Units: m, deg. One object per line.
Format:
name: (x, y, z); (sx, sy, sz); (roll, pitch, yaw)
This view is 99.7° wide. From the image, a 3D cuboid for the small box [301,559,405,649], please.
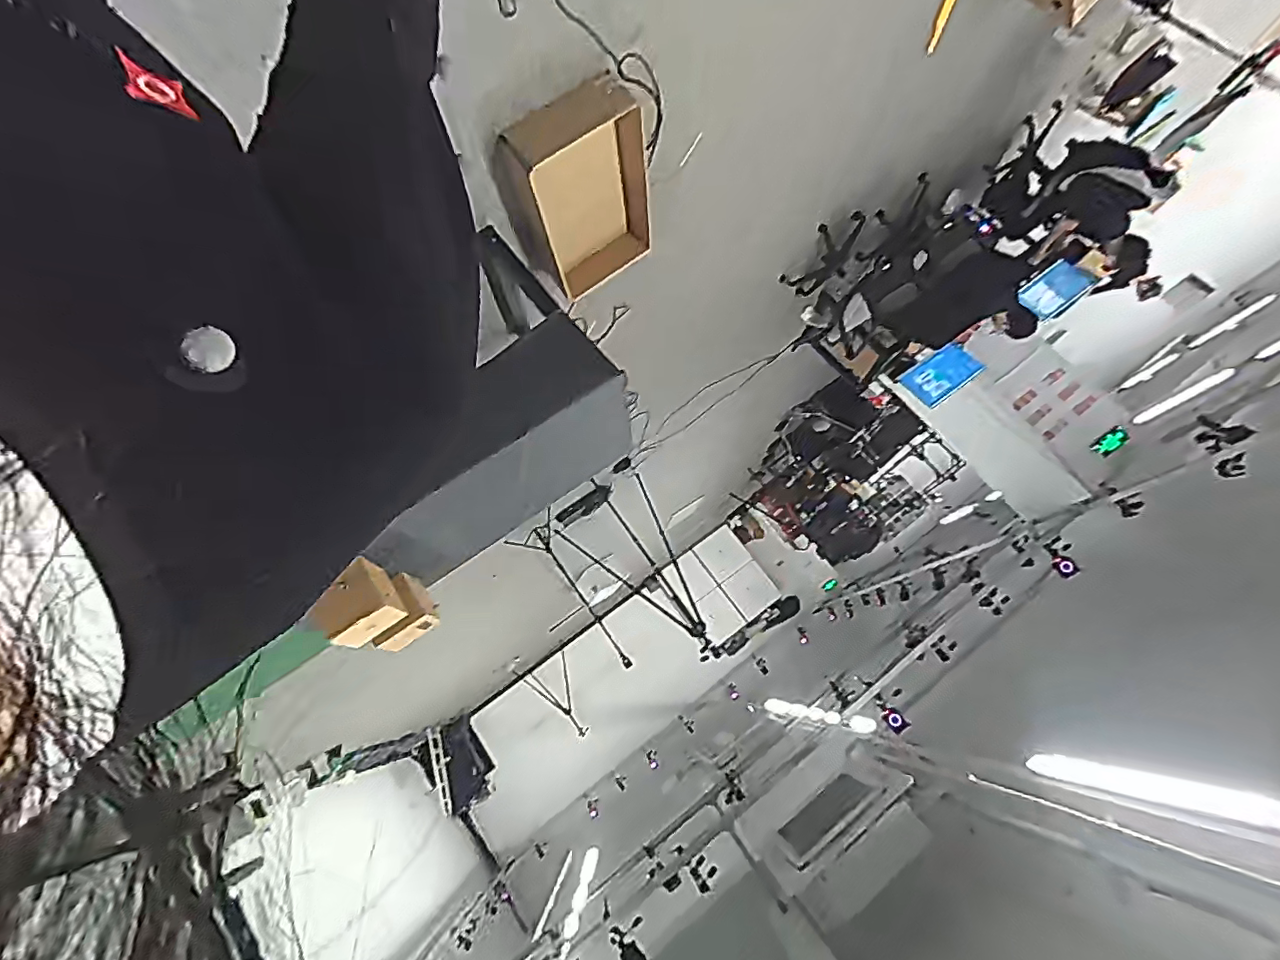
small box: (-0.788, 0.341, 1.492); (0.168, 0.176, 0.179); (-35, 164, -15)
